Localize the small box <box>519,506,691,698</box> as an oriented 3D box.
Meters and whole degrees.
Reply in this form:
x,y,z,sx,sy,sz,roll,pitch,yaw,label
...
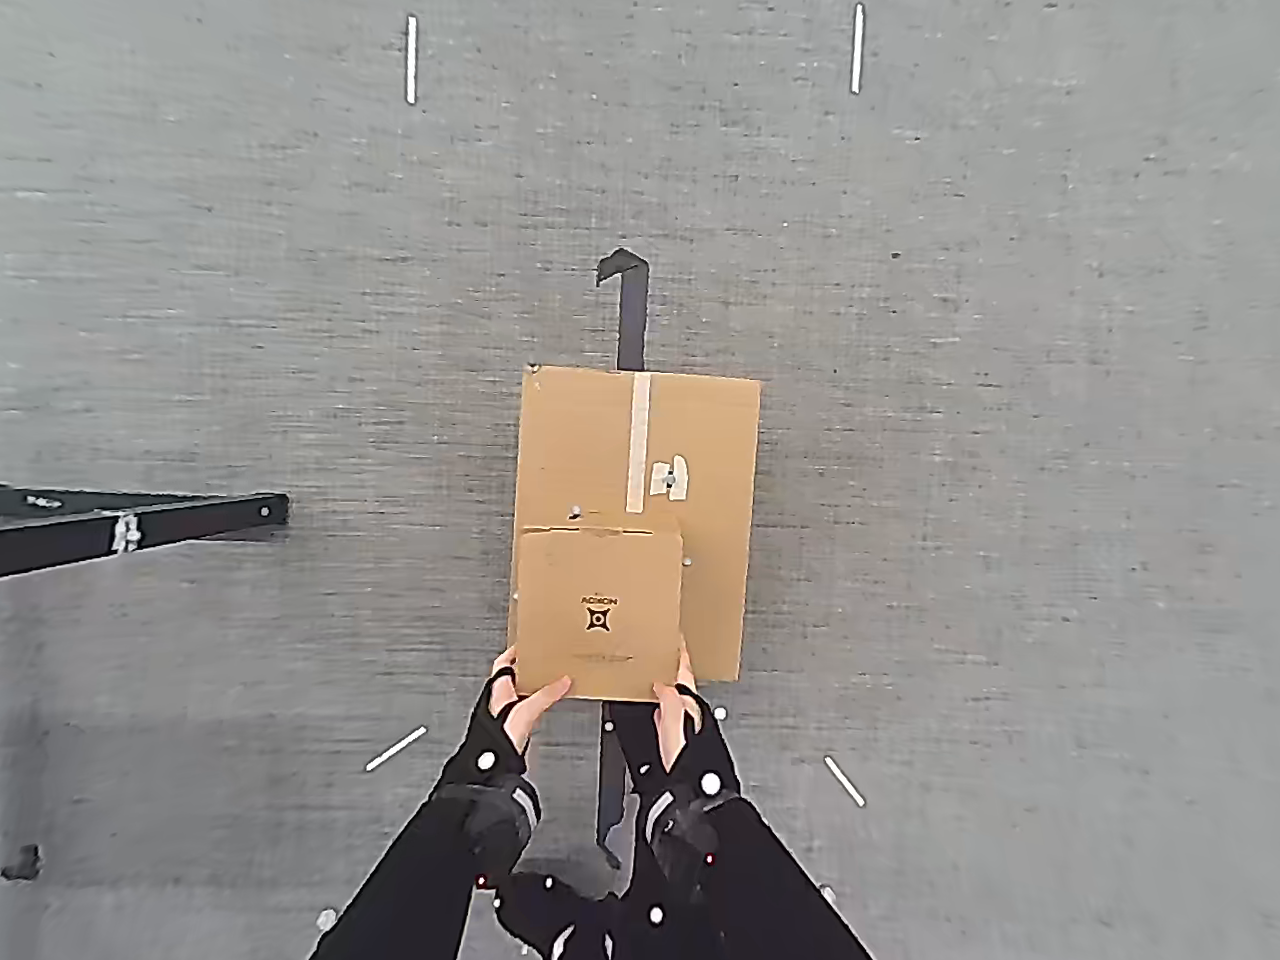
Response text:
x,y,z,sx,sy,sz,roll,pitch,yaw,label
-0.035,0.125,0.620,0.168,0.176,0.179,3,93,1,small box

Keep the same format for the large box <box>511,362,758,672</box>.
x,y,z,sx,sy,sz,roll,pitch,yaw,label
-0.008,0.049,0.862,0.320,0.320,0.408,4,92,-1,large box
